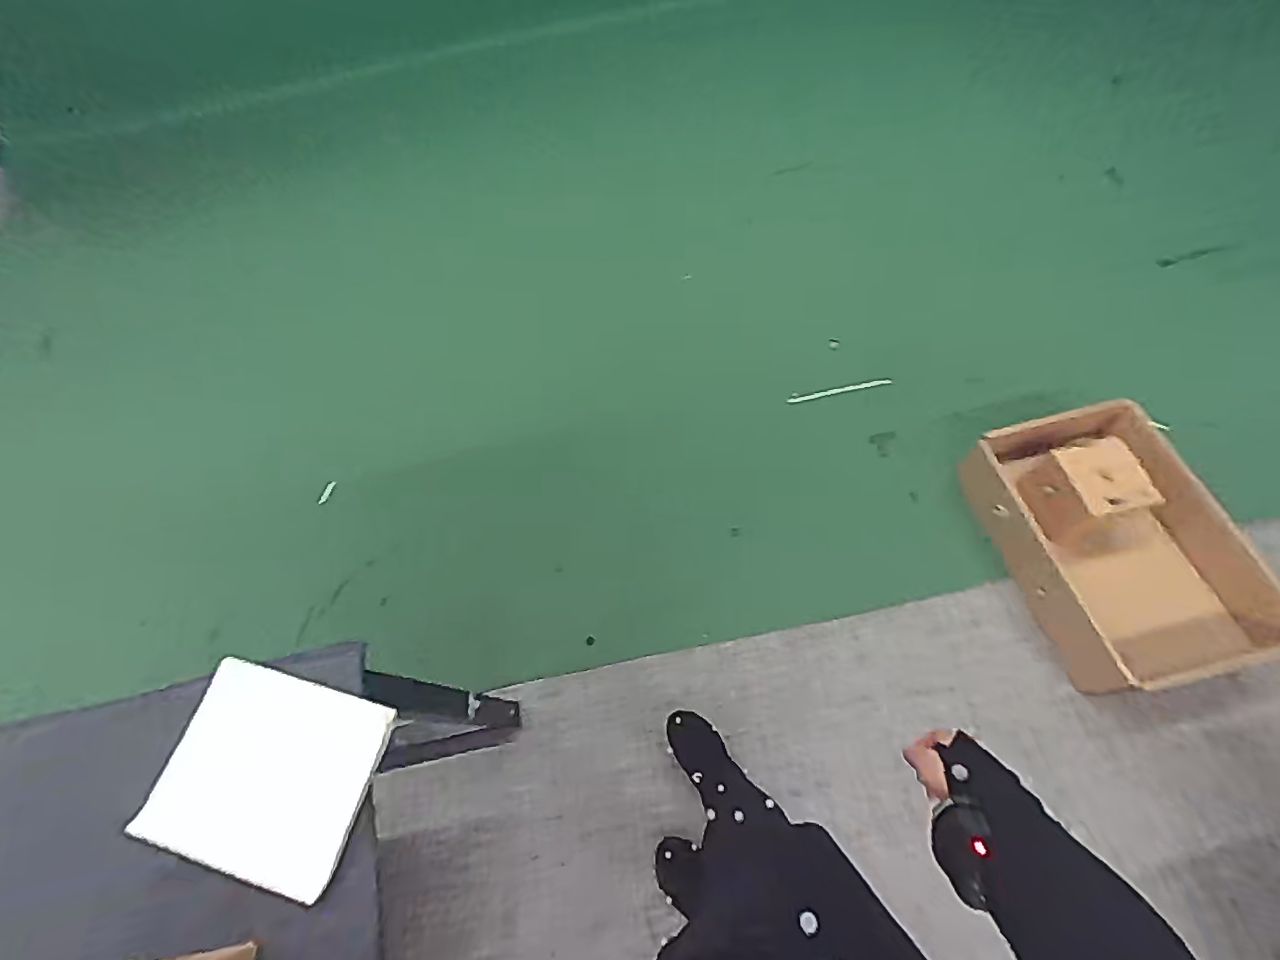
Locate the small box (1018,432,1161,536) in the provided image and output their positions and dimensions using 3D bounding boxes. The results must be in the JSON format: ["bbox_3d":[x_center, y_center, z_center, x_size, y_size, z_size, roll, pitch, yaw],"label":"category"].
[{"bbox_3d":[1.072,0.014,1.312,0.168,0.176,0.179,-13,63,-1],"label":"small box"}]

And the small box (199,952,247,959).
[{"bbox_3d":[-0.468,0.550,0.467,0.168,0.176,0.179,-14,64,1],"label":"small box"}]
